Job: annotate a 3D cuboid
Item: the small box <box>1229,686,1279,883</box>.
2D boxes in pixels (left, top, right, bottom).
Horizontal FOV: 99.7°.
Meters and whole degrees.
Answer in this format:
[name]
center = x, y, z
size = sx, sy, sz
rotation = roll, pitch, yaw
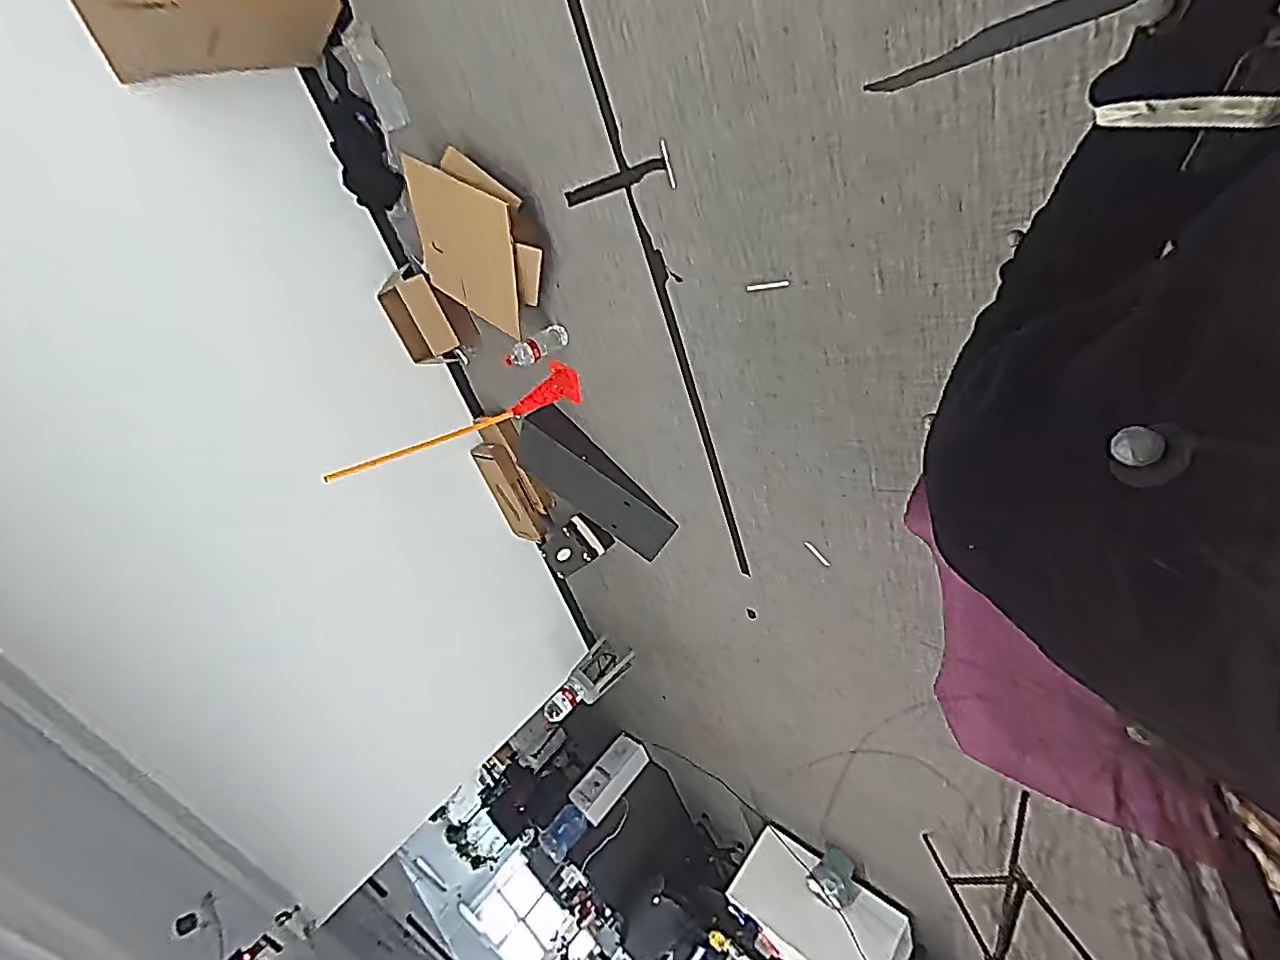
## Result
[small box]
center = 0.831, 0.380, 0.634
size = 0.168, 0.176, 0.179
rotation = 11, 131, 46
